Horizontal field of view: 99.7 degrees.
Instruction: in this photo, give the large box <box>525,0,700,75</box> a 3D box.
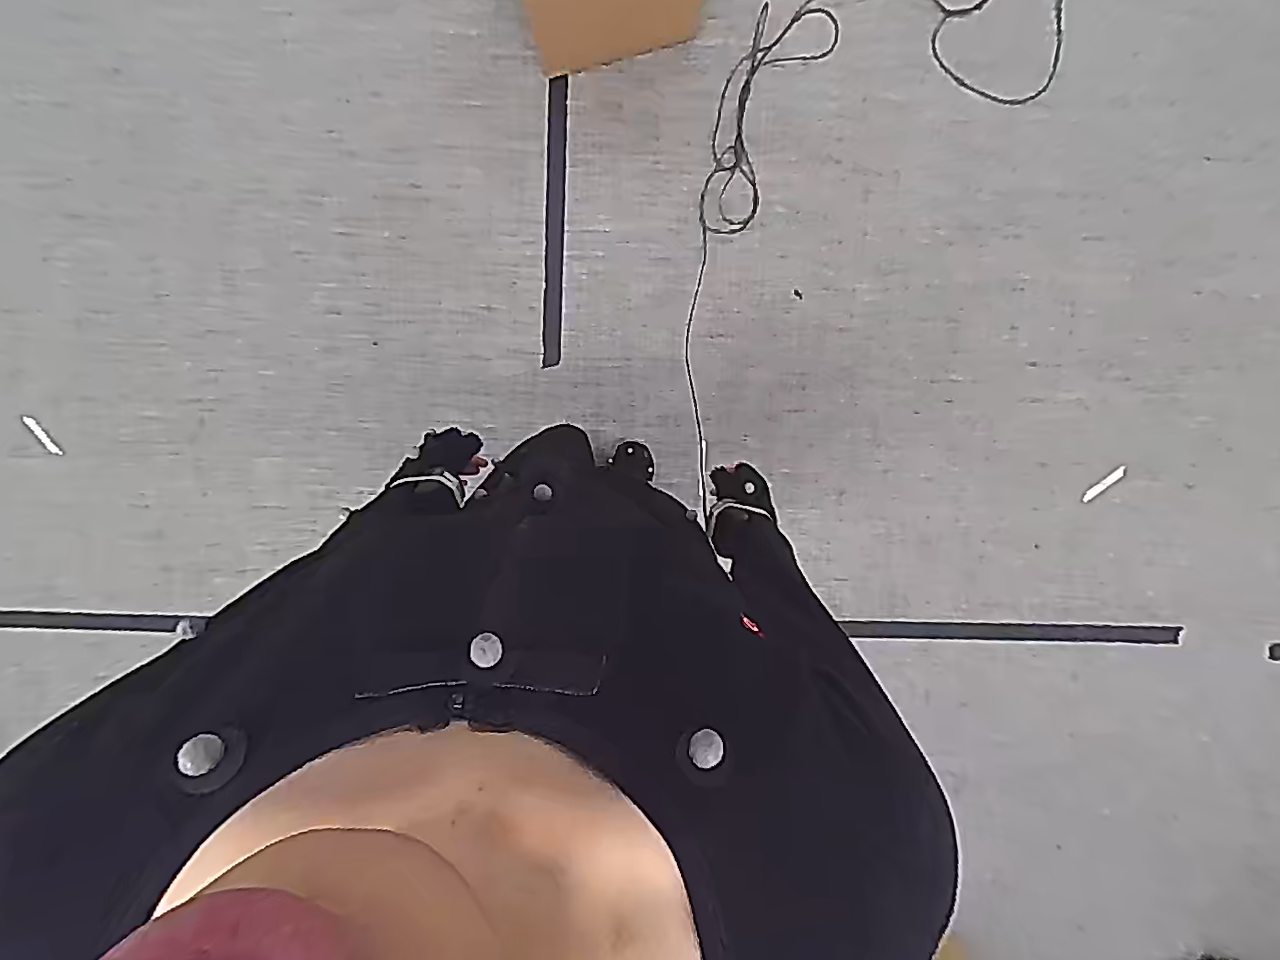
[{"bbox_3d":[-0.086,-1.221,1.228,0.408,0.320,0.320,-15,95,1],"label":"large box"}]
